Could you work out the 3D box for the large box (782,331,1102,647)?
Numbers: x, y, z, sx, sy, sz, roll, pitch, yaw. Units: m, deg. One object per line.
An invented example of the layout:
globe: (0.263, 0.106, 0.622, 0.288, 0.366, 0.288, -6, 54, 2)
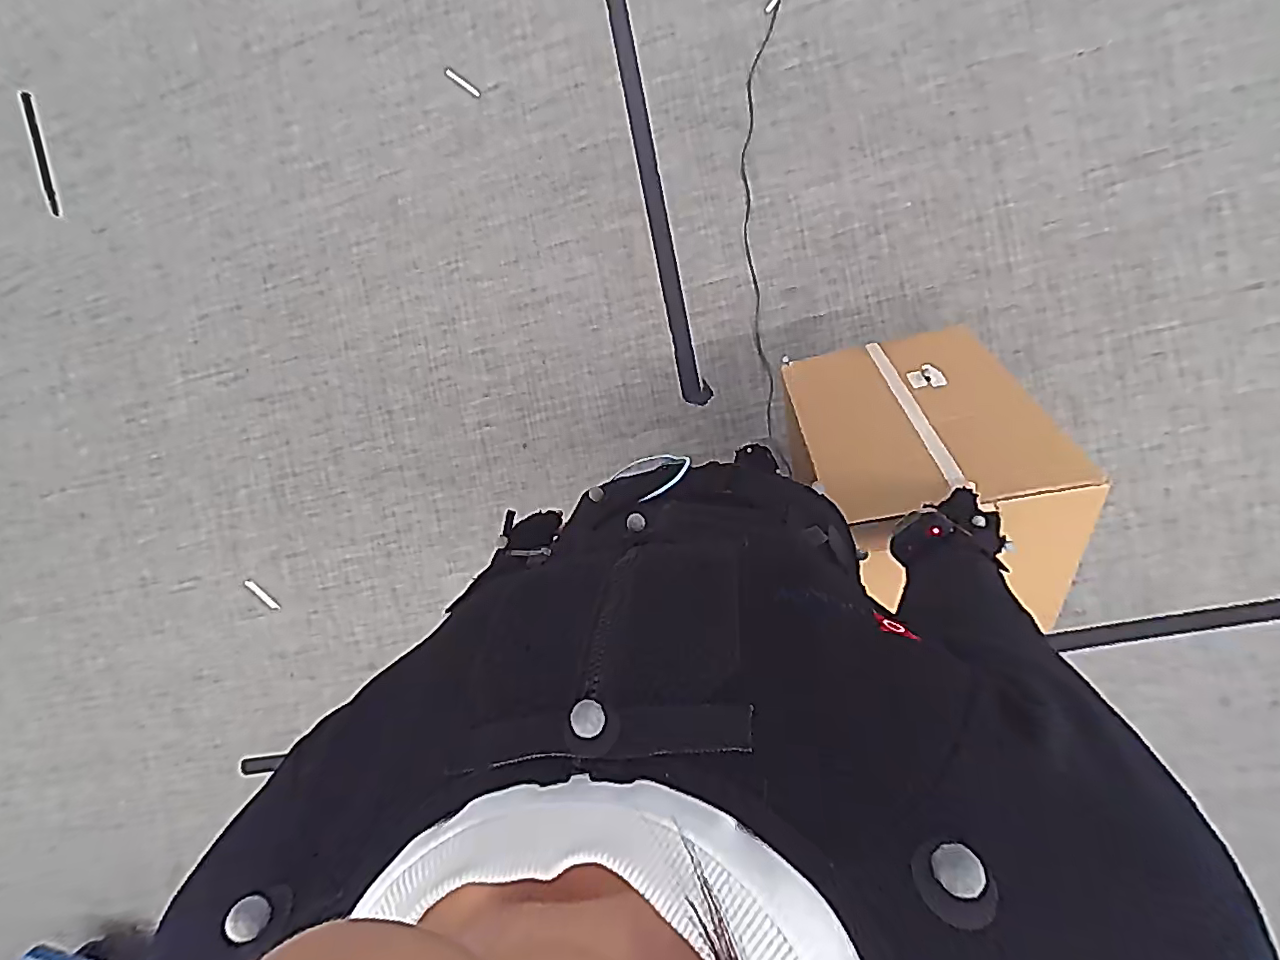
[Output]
large box: (0.448, 0.009, 0.909, 0.320, 0.408, 0.320, -11, 130, 10)
